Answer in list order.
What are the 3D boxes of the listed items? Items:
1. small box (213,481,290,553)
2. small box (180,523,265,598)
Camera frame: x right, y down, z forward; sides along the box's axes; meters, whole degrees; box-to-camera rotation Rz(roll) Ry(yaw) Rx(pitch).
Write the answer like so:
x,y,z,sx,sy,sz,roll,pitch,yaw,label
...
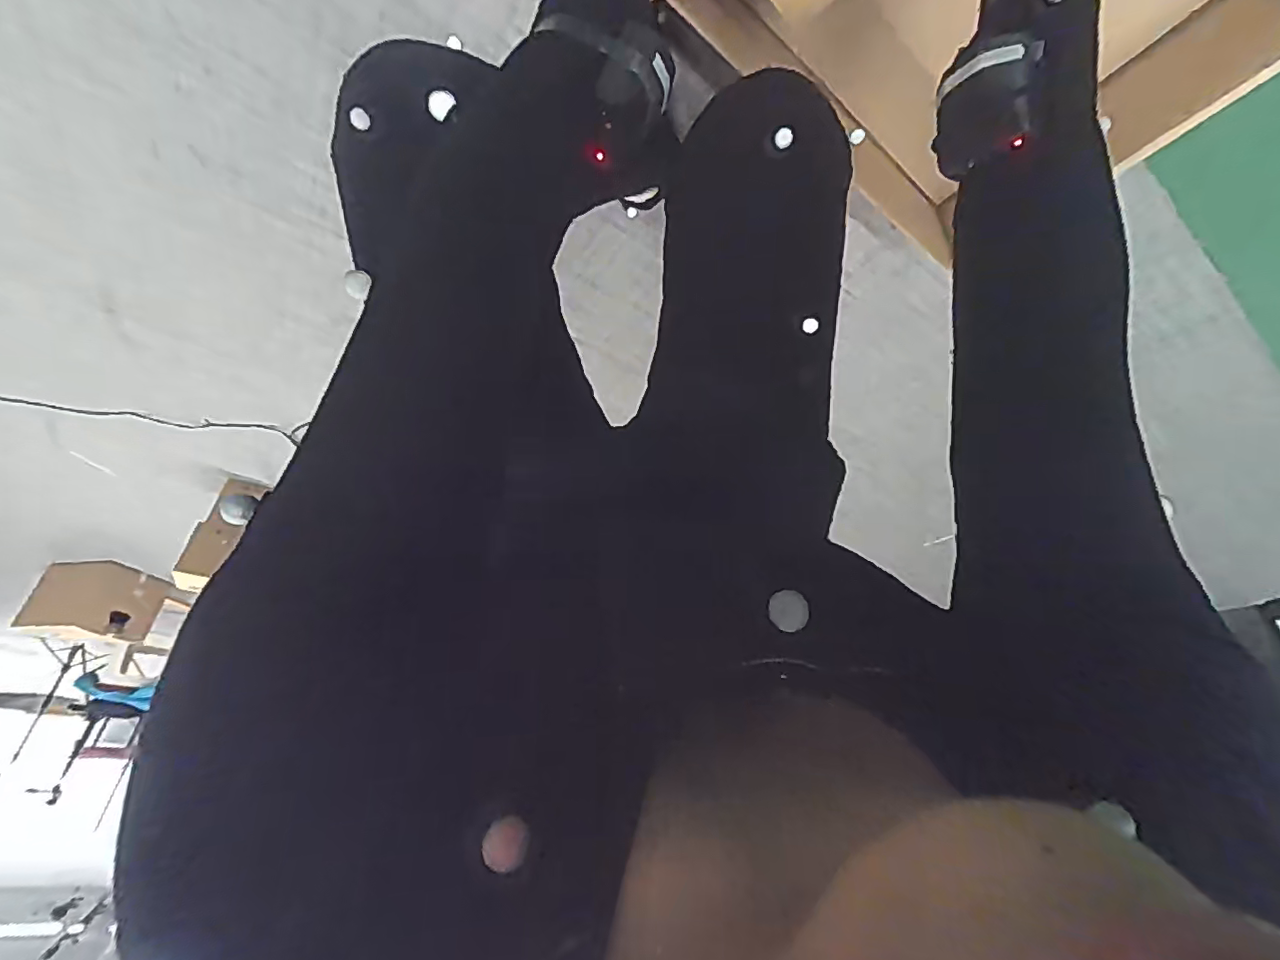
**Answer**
x,y,z,sx,sy,sz,roll,pitch,yaw,label
-1.302,0.124,1.818,0.168,0.176,0.179,20,145,-24,small box
-1.322,0.257,1.722,0.168,0.176,0.179,20,145,-25,small box
